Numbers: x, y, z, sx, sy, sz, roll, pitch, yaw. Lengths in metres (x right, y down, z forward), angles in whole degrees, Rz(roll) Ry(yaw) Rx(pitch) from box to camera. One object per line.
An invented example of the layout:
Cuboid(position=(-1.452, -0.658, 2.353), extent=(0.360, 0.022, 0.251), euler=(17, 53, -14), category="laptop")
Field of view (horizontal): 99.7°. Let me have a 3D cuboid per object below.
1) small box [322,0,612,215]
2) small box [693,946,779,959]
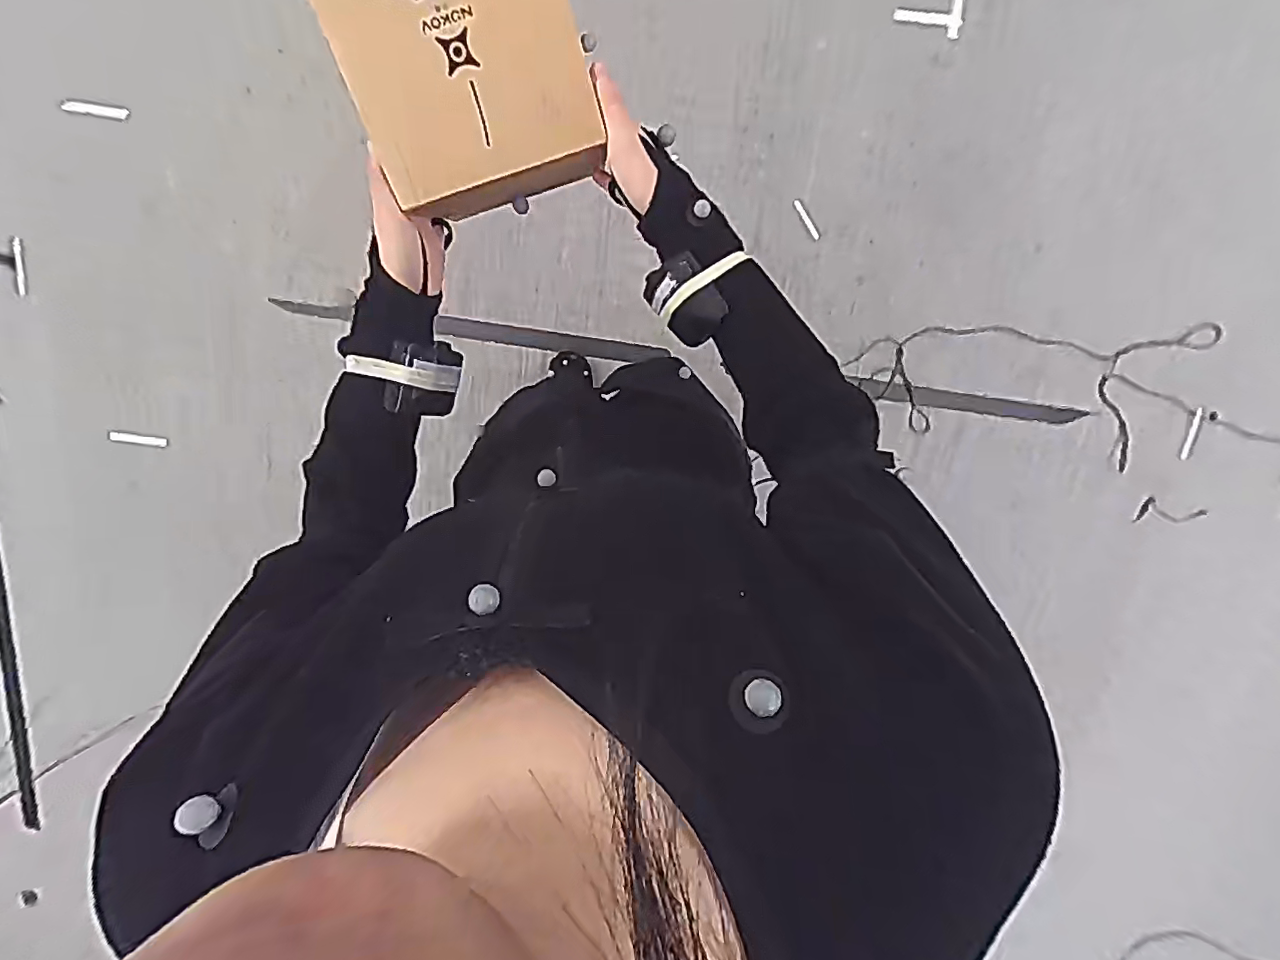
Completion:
Cuboid(position=(-0.127, -0.332, 0.438), extent=(0.168, 0.176, 0.179), euler=(-16, 114, 2), category="small box")
Cuboid(position=(0.160, 0.916, 0.872), extent=(0.168, 0.176, 0.179), euler=(12, 100, -4), category="small box")
